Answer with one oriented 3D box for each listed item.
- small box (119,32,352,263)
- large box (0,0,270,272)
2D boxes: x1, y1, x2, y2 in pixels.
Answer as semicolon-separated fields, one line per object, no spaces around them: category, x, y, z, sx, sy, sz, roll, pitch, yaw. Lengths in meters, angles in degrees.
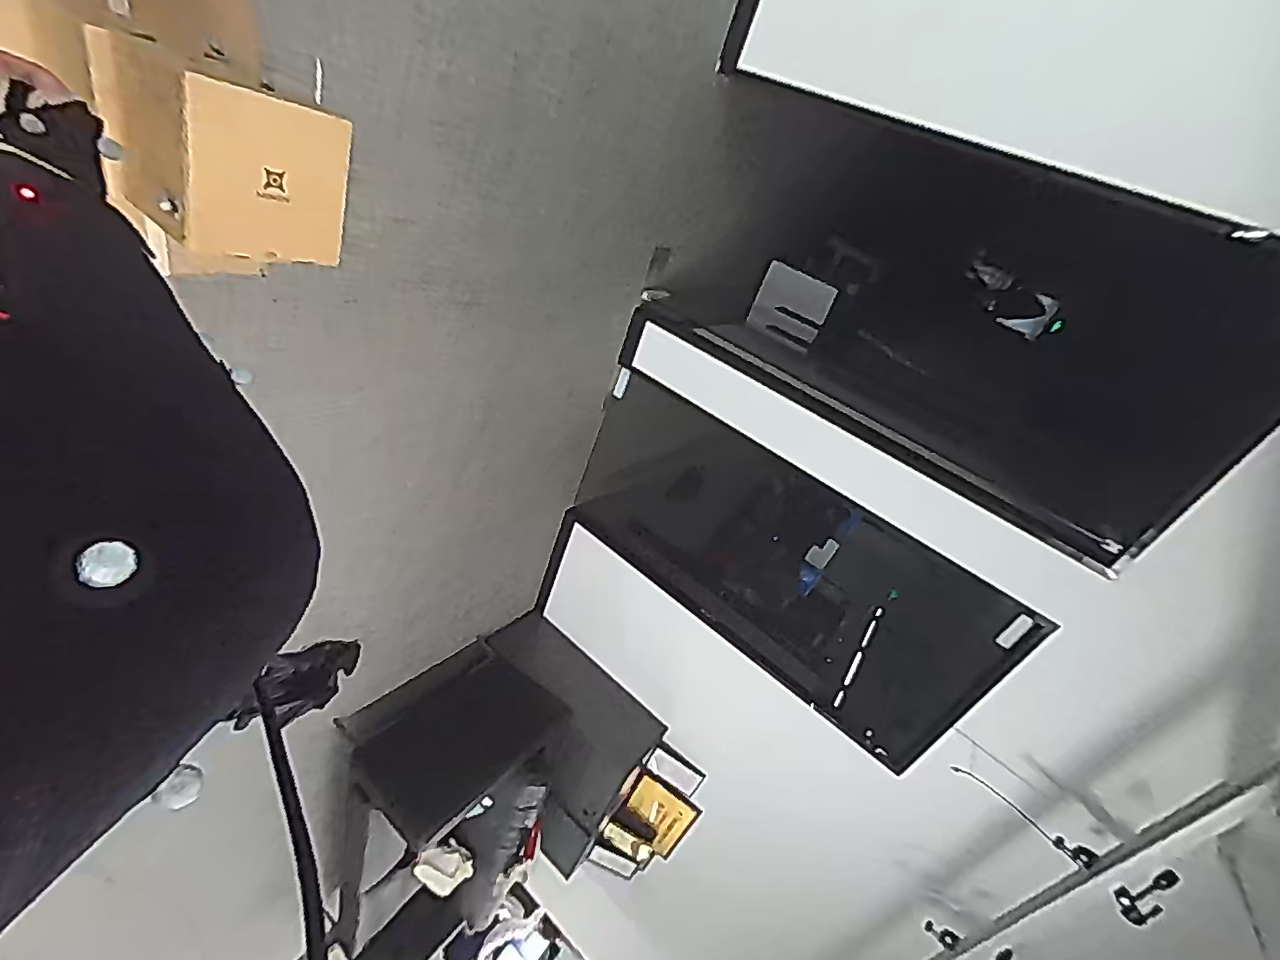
small box;-0.474;-0.382;0.640;0.168;0.176;0.179;-23;144;-54
large box;-0.803;-0.568;0.798;0.320;0.320;0.408;-26;146;-49
